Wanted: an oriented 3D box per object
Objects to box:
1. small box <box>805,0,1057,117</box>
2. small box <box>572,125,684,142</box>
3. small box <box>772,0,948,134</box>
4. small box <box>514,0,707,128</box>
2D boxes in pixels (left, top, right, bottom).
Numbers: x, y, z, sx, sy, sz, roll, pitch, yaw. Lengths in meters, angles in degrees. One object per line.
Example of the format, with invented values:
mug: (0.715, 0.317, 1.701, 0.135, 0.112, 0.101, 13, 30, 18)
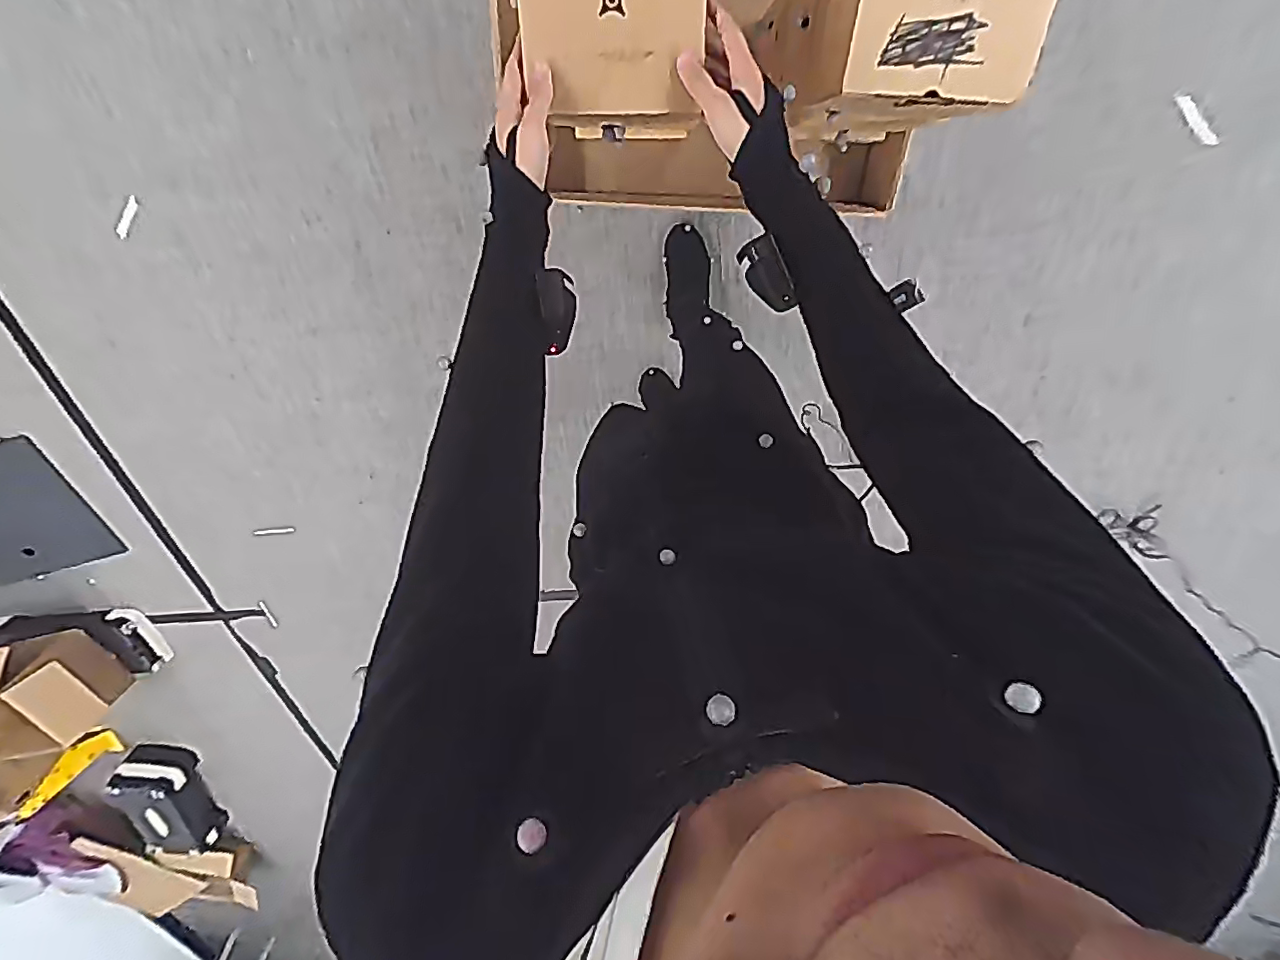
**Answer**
small box: (0.265, -0.452, 0.506, 0.168, 0.176, 0.179, 4, 120, 0)
small box: (-0.014, -0.611, 0.808, 0.168, 0.176, 0.179, 1, 120, 1)
small box: (0.271, -0.523, 0.656, 0.179, 0.176, 0.168, 1, 120, 2)
small box: (-0.024, -0.451, 0.522, 0.168, 0.176, 0.179, 1, 120, 2)
